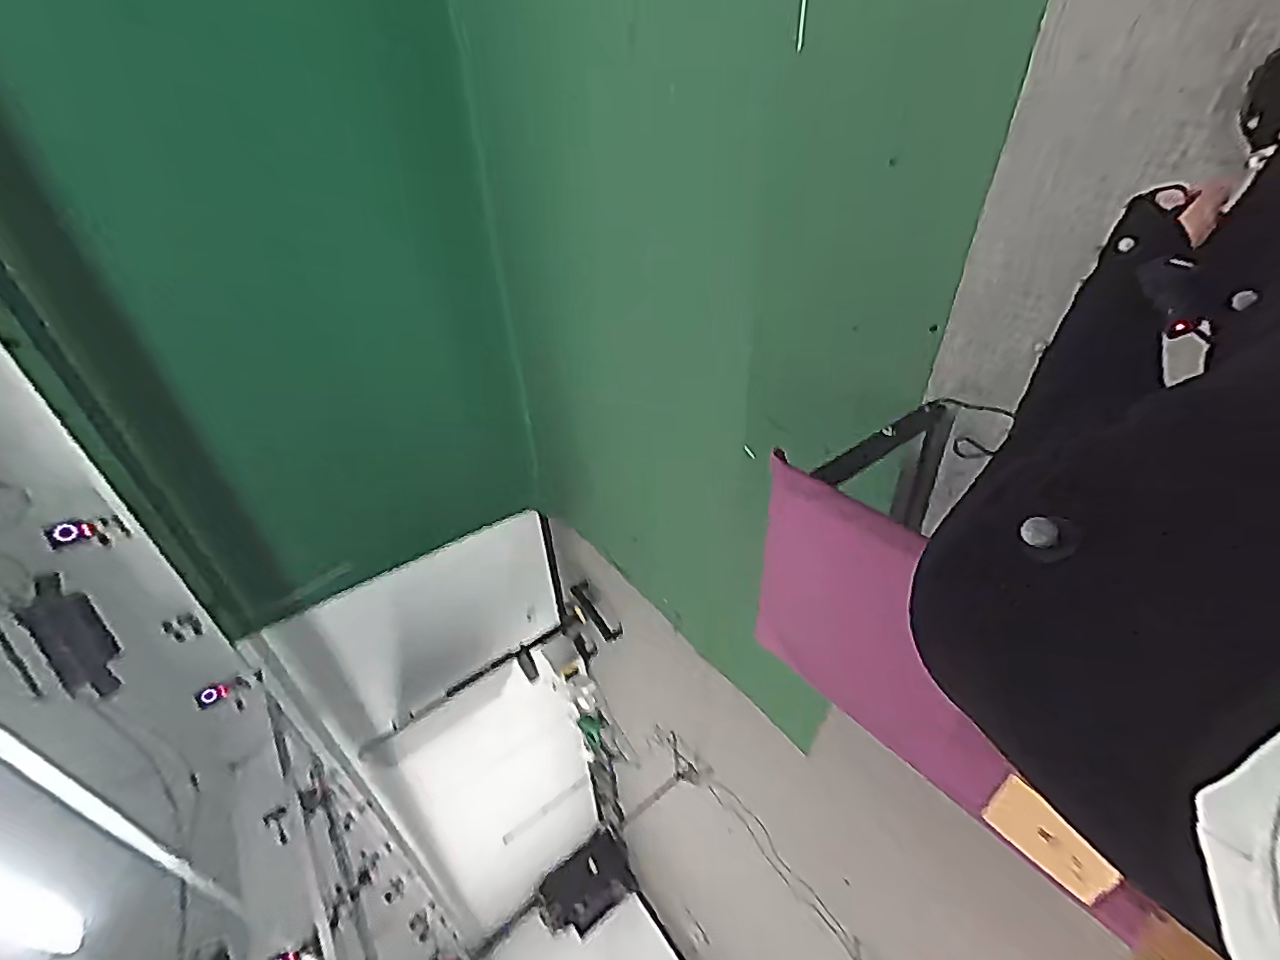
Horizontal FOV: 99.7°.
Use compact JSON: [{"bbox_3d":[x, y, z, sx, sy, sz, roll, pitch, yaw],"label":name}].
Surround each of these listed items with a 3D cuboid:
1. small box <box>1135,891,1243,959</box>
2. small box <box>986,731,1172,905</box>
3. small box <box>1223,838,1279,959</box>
[{"bbox_3d":[0.933,0.816,0.857,0.179,0.176,0.168,37,141,42],"label":"small box"},{"bbox_3d":[0.761,0.576,0.948,0.179,0.176,0.168,37,142,42],"label":"small box"},{"bbox_3d":[0.919,0.579,0.689,0.168,0.176,0.179,33,141,42],"label":"small box"}]
